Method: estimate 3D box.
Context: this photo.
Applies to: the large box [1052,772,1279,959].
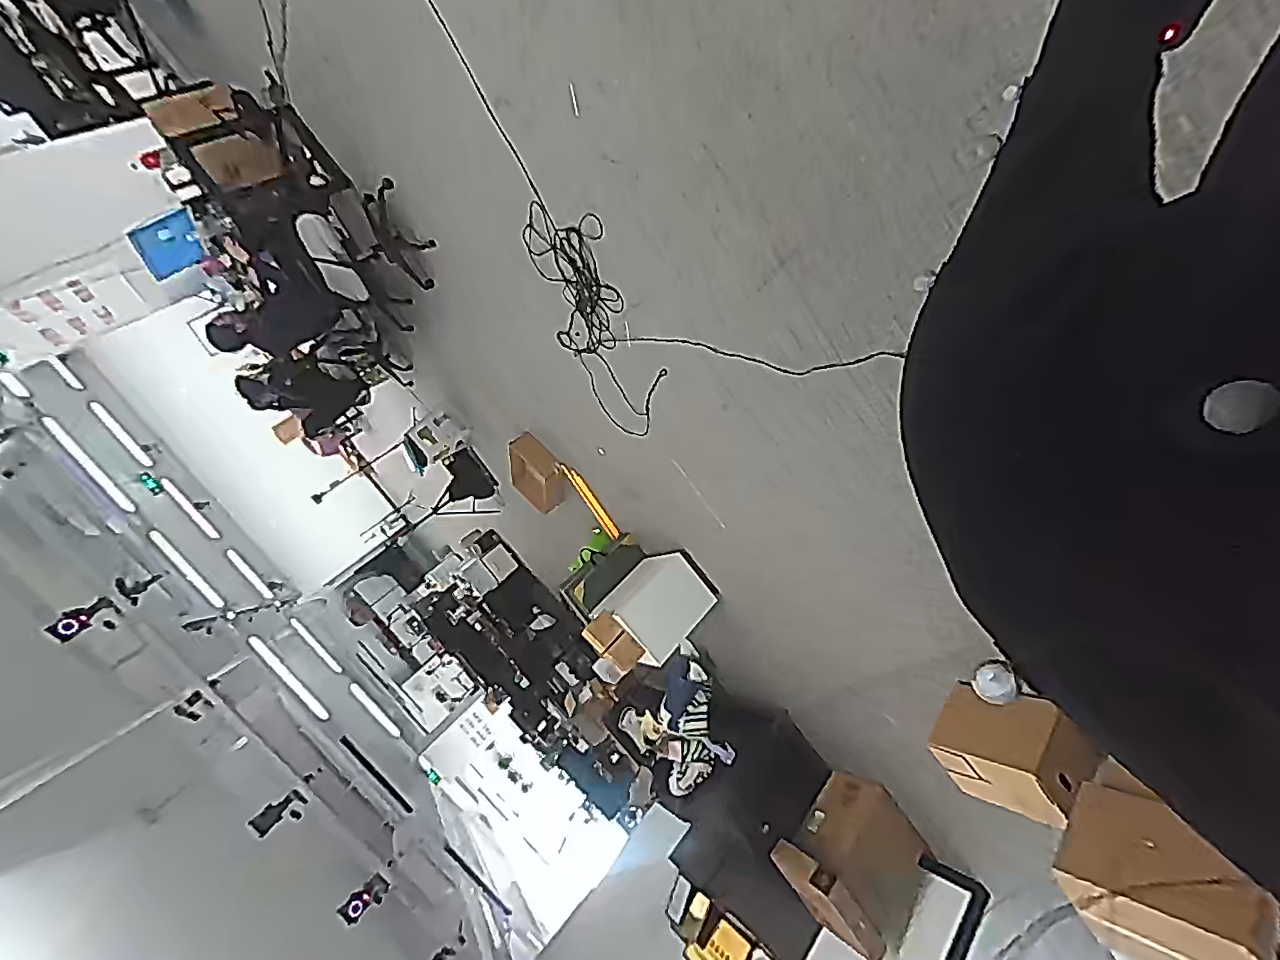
[{"bbox_3d":[1.449,1.069,1.459,0.320,0.320,0.408,54,152,-7],"label":"large box"}]
